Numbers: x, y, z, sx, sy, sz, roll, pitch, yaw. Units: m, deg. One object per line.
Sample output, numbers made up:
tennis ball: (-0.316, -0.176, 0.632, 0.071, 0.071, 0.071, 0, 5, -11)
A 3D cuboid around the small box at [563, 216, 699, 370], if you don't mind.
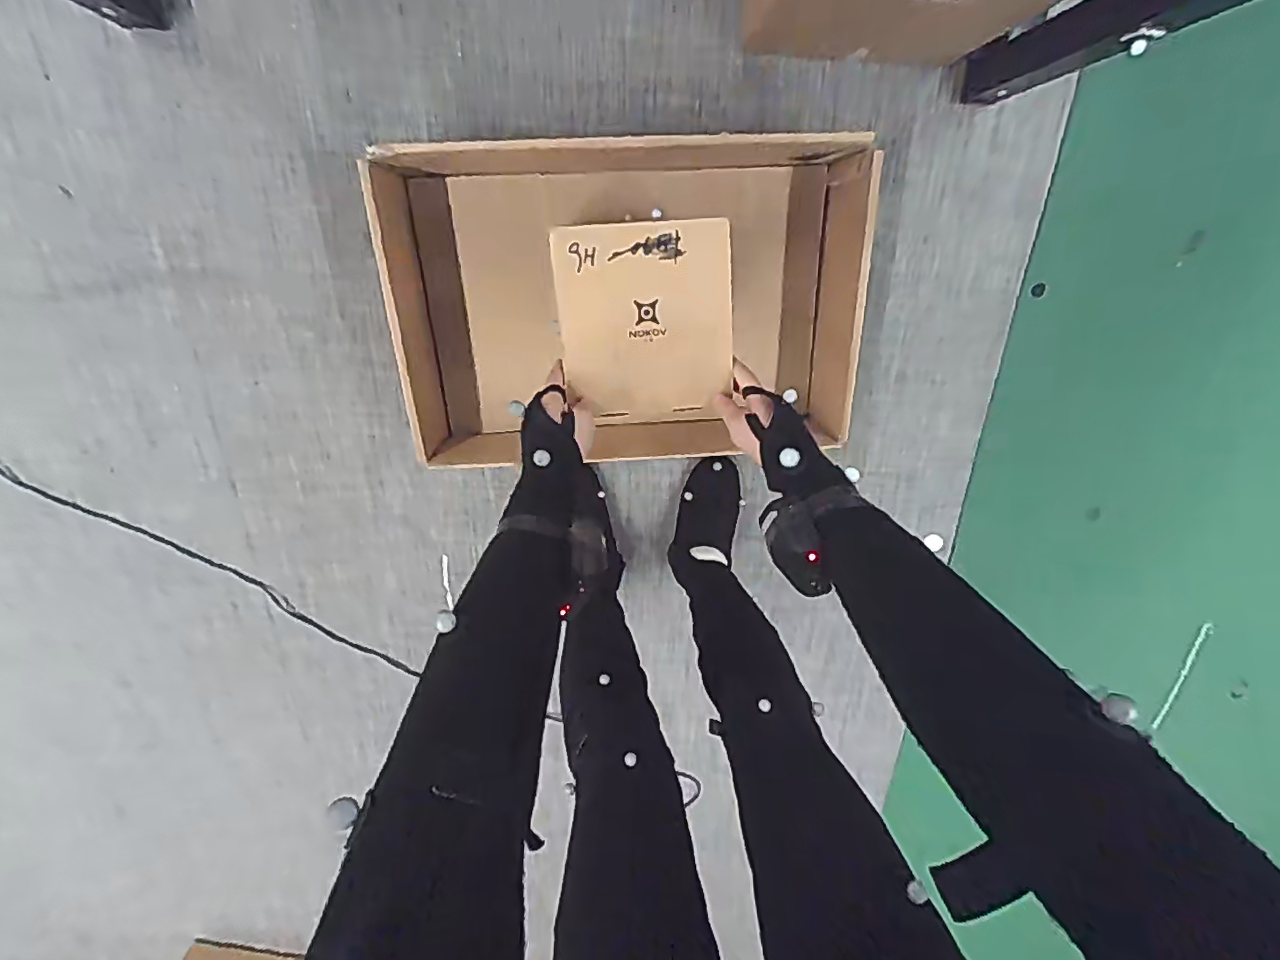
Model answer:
small box: (-0.013, -0.256, 0.741, 0.168, 0.176, 0.179, -4, 113, -2)
